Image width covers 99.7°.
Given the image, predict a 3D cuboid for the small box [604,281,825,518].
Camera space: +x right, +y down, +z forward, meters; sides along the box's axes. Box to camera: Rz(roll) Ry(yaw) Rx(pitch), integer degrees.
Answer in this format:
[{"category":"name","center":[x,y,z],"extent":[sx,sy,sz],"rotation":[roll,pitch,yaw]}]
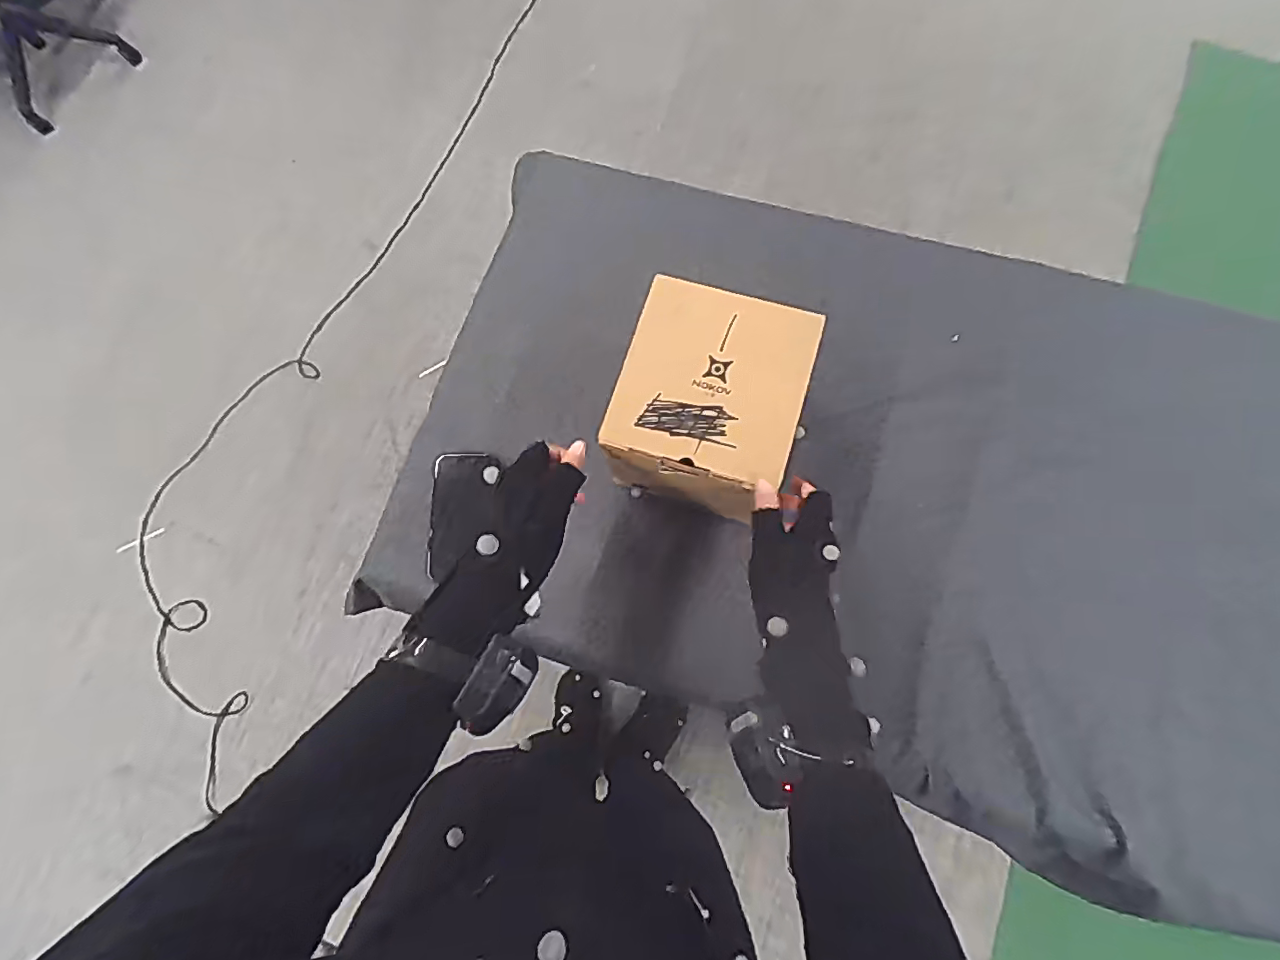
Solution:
[{"category":"small box","center":[0.074,-0.071,0.572],"extent":[0.168,0.176,0.179],"rotation":[17,77,7]}]
